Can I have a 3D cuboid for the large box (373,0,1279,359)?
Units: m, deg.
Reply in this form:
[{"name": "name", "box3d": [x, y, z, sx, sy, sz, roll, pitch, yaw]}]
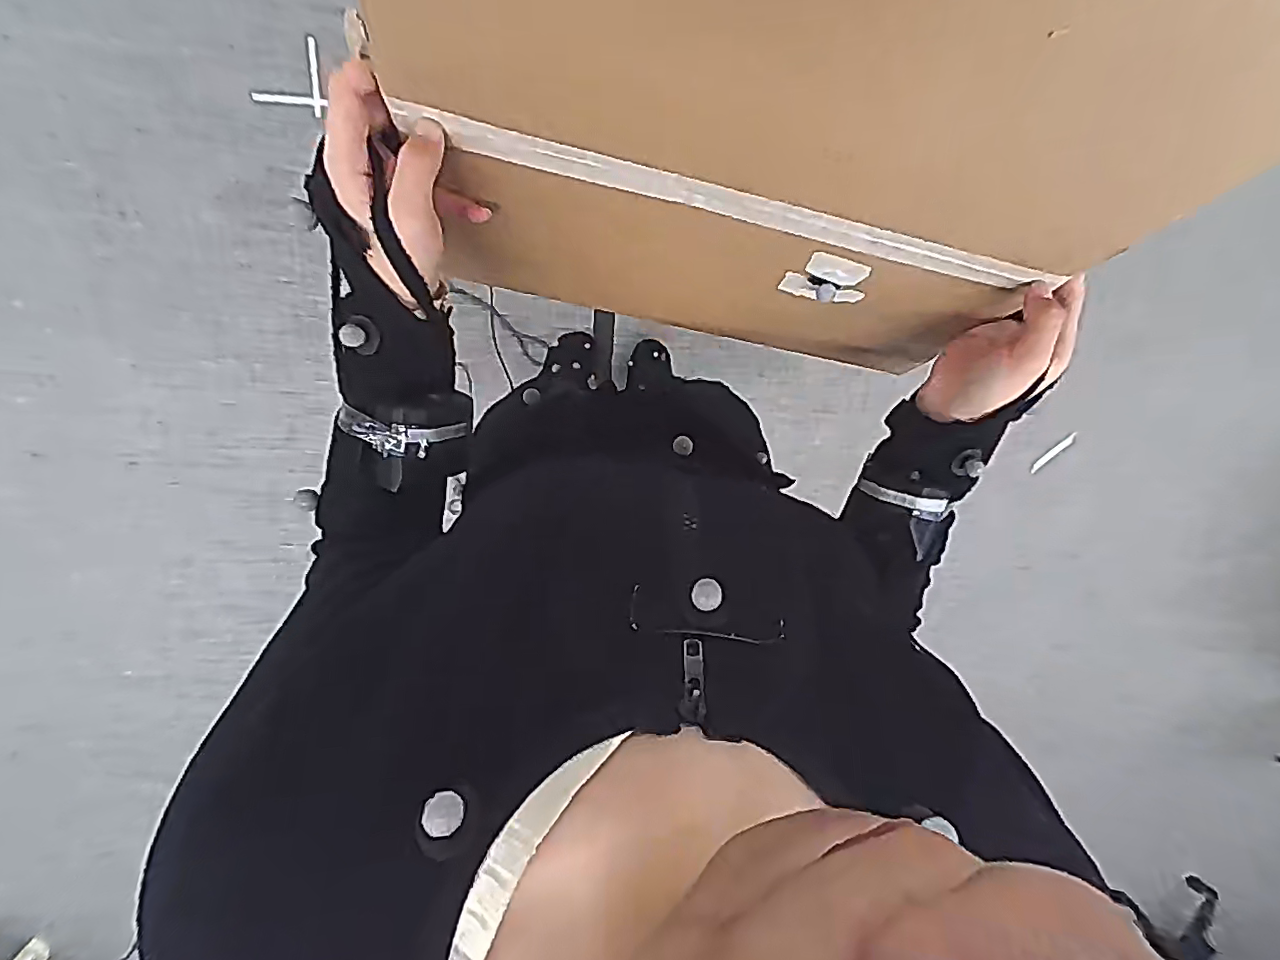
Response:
[{"name": "large box", "box3d": [0.082, -0.310, 0.345, 0.408, 0.320, 0.320, 8, 79, -10]}]
